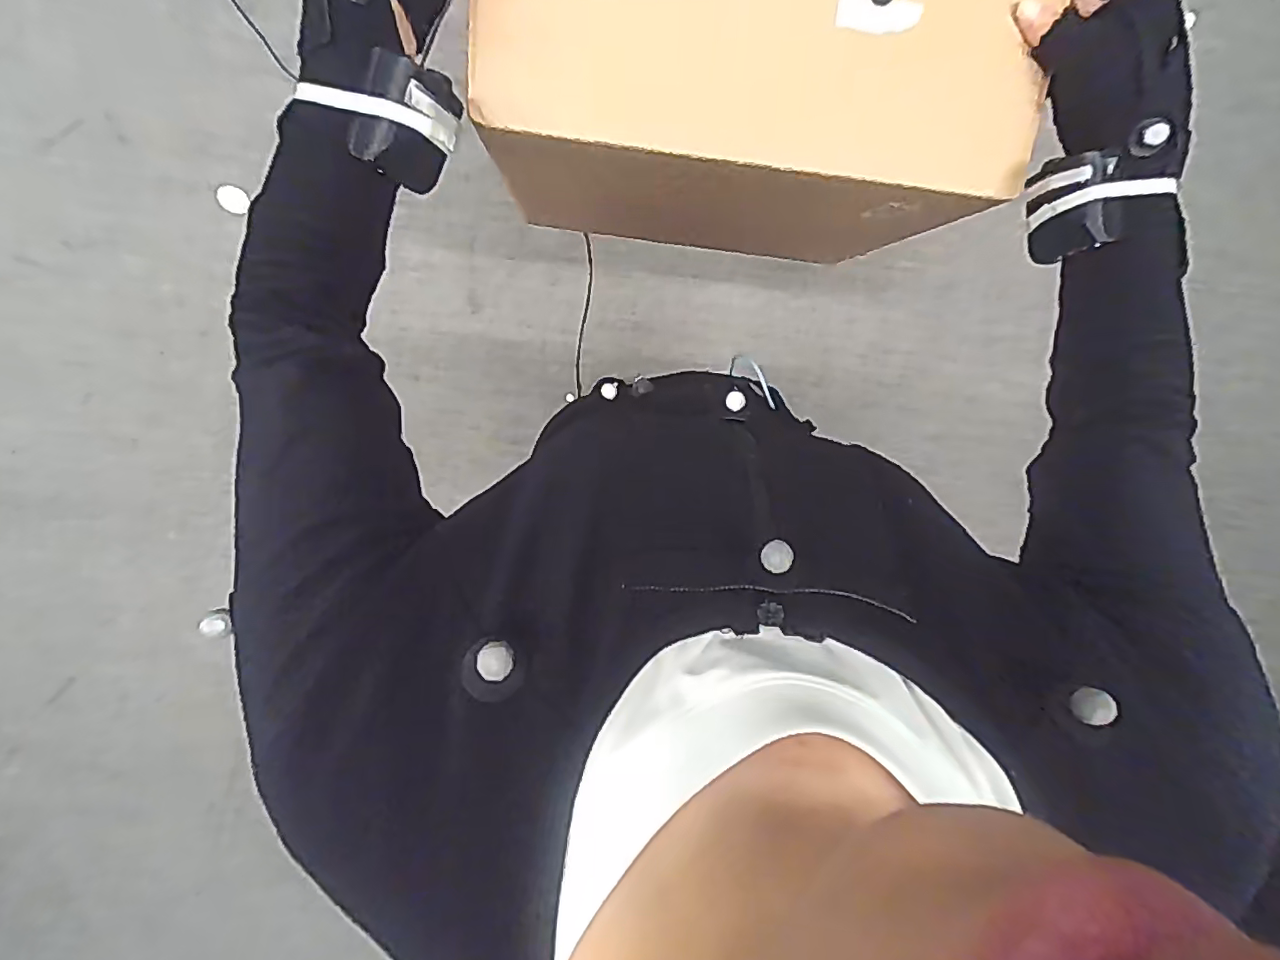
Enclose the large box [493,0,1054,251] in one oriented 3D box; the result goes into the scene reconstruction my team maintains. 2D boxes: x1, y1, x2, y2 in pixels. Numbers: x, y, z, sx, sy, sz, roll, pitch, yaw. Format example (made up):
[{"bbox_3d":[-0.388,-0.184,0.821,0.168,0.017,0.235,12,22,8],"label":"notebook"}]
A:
[{"bbox_3d":[0.088,-0.421,0.506,0.408,0.320,0.320,4,104,-7],"label":"large box"}]
